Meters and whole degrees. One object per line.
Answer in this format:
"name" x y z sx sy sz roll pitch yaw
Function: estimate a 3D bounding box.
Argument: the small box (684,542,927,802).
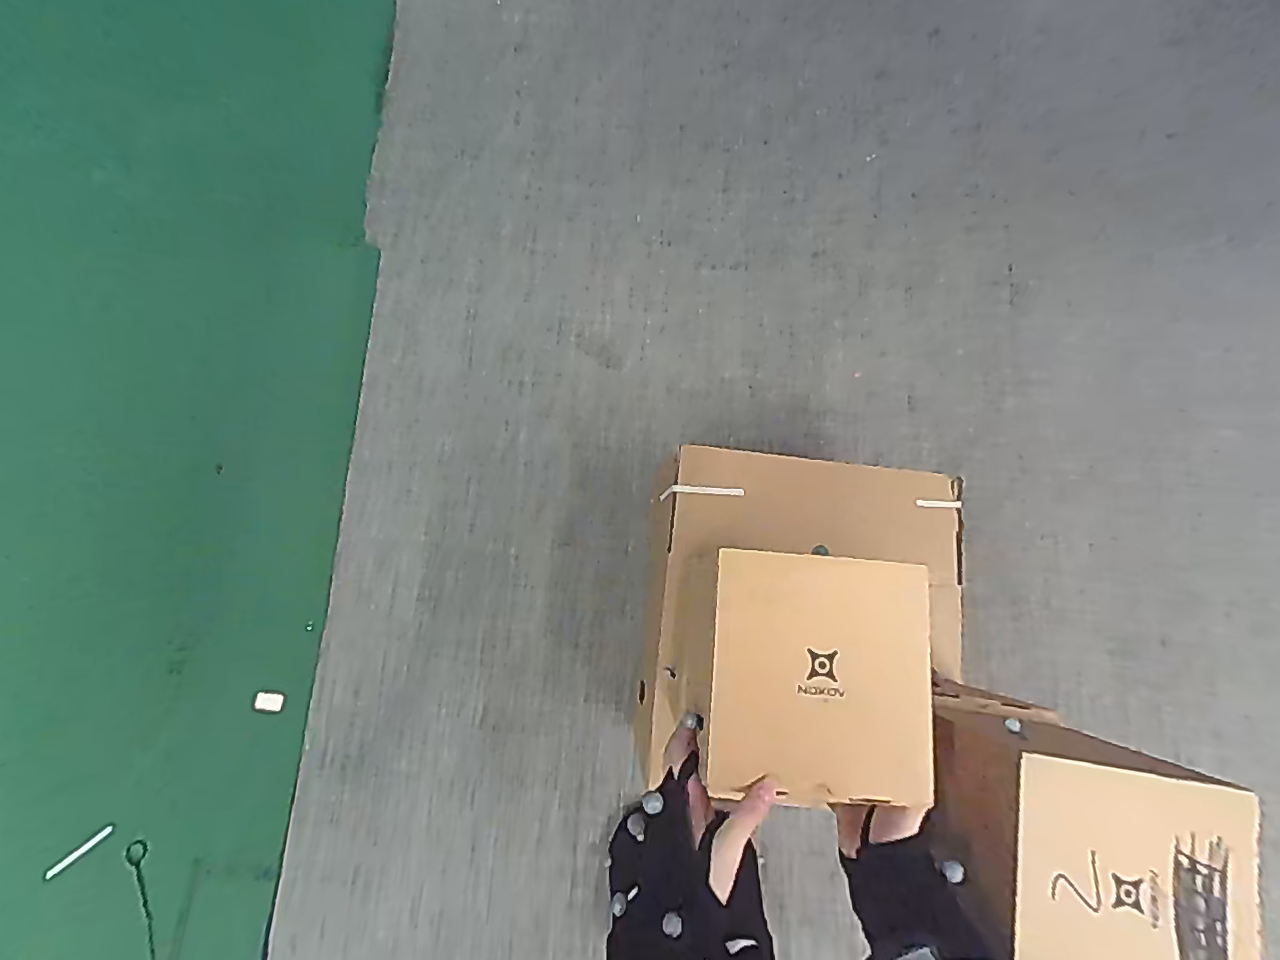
"small box" 0.131 0.156 0.483 0.168 0.176 0.179 5 79 0

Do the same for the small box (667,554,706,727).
"small box" 0.124 0.190 0.642 0.168 0.176 0.179 7 77 0

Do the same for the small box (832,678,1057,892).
"small box" 0.330 0.320 0.617 0.168 0.176 0.179 9 78 0
